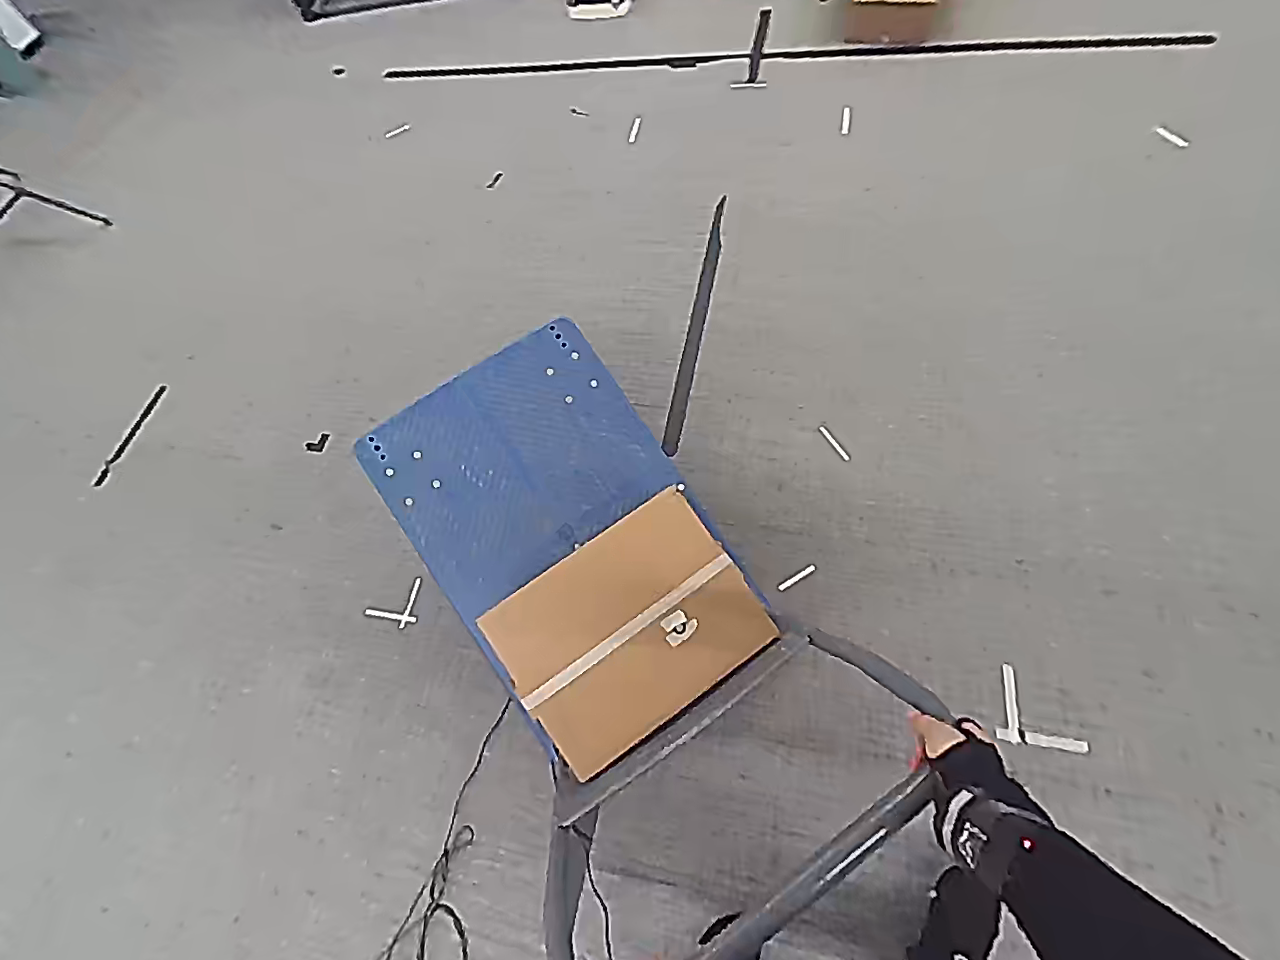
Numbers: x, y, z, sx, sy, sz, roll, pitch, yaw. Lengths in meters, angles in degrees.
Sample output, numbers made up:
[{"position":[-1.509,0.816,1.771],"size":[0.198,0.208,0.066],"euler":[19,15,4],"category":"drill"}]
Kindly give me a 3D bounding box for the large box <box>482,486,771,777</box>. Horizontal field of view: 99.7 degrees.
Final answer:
[{"position":[-0.030,0.269,1.055],"size":[0.408,0.320,0.320],"euler":[-35,86,-9],"category":"large box"}]
